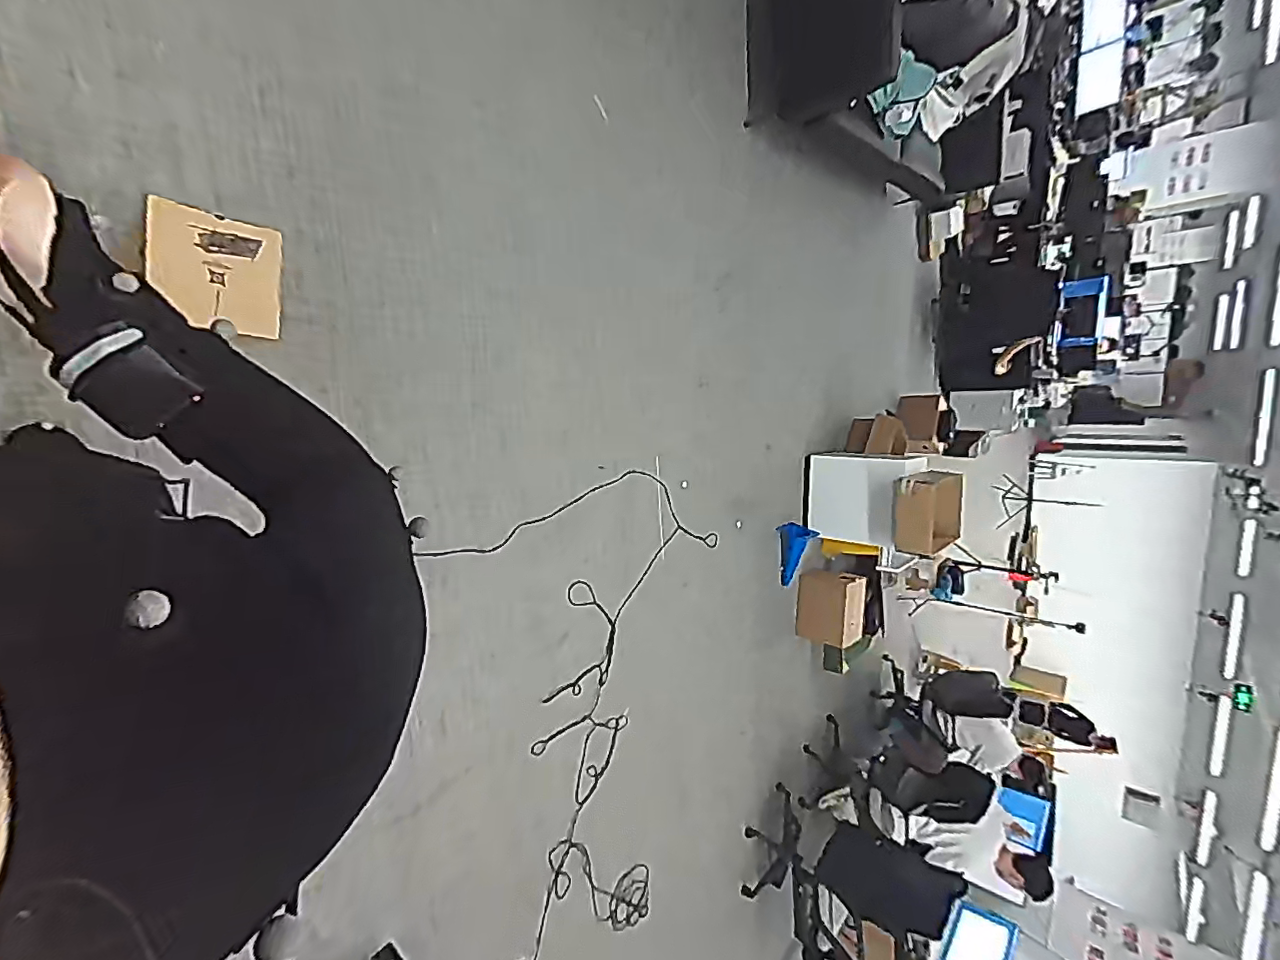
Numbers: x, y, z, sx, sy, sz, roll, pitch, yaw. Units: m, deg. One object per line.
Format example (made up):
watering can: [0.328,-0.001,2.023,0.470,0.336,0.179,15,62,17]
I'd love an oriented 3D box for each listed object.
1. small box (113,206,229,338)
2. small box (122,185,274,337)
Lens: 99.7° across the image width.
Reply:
small box: [-0.837,-0.364,0.982,0.168,0.176,0.179,-2,98,-48]
small box: [-0.715,-0.338,0.874,0.168,0.176,0.179,1,97,-48]
